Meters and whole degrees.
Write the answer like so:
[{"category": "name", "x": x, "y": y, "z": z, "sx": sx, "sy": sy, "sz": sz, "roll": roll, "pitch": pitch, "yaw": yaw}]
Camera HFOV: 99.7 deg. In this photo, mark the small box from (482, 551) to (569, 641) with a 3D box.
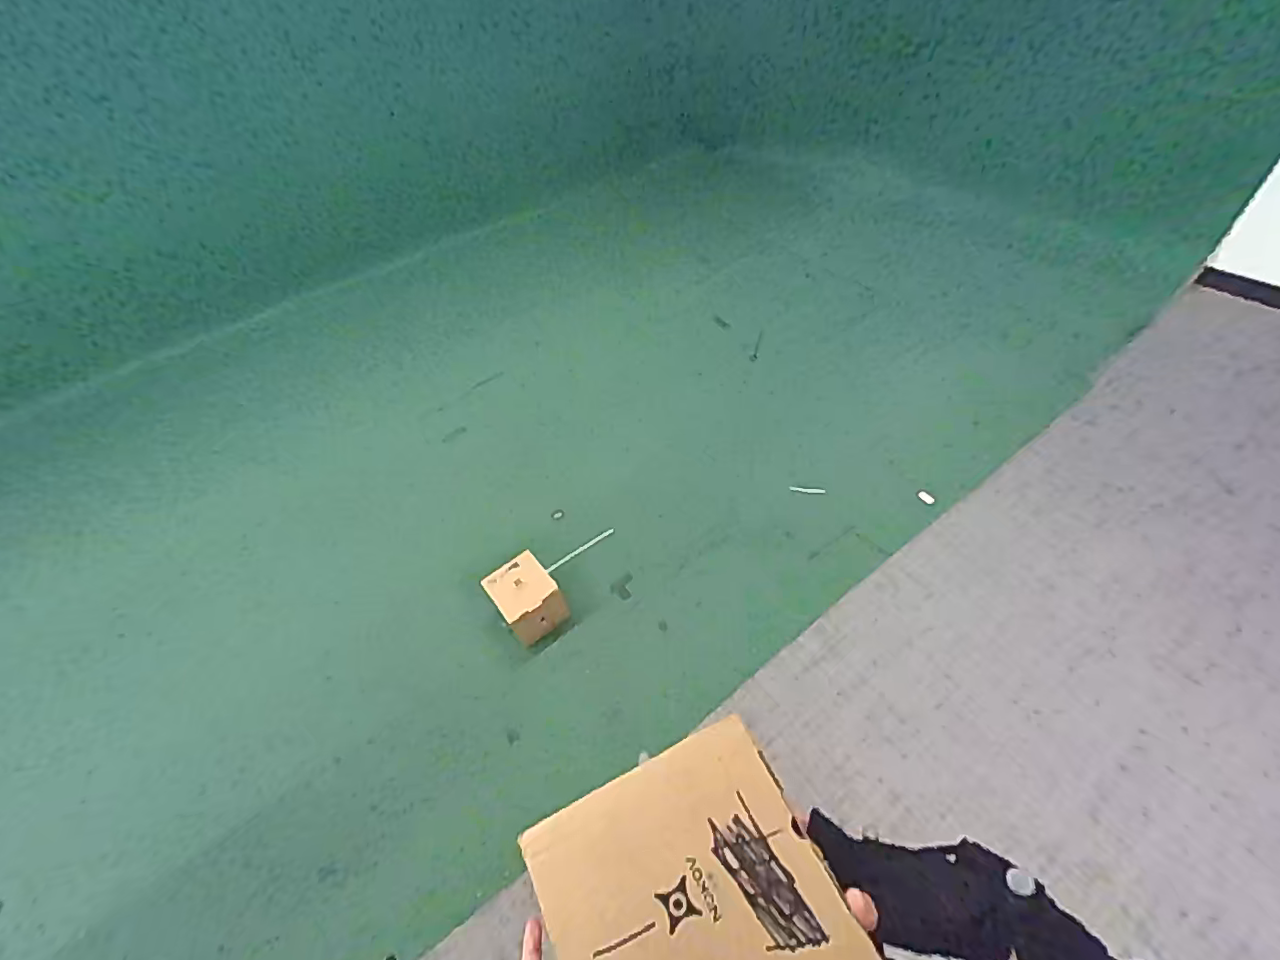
[{"category": "small box", "x": -0.329, "y": 0.348, "z": 1.584, "sx": 0.168, "sy": 0.176, "sz": 0.179, "roll": -34, "pitch": 55, "yaw": -19}]
